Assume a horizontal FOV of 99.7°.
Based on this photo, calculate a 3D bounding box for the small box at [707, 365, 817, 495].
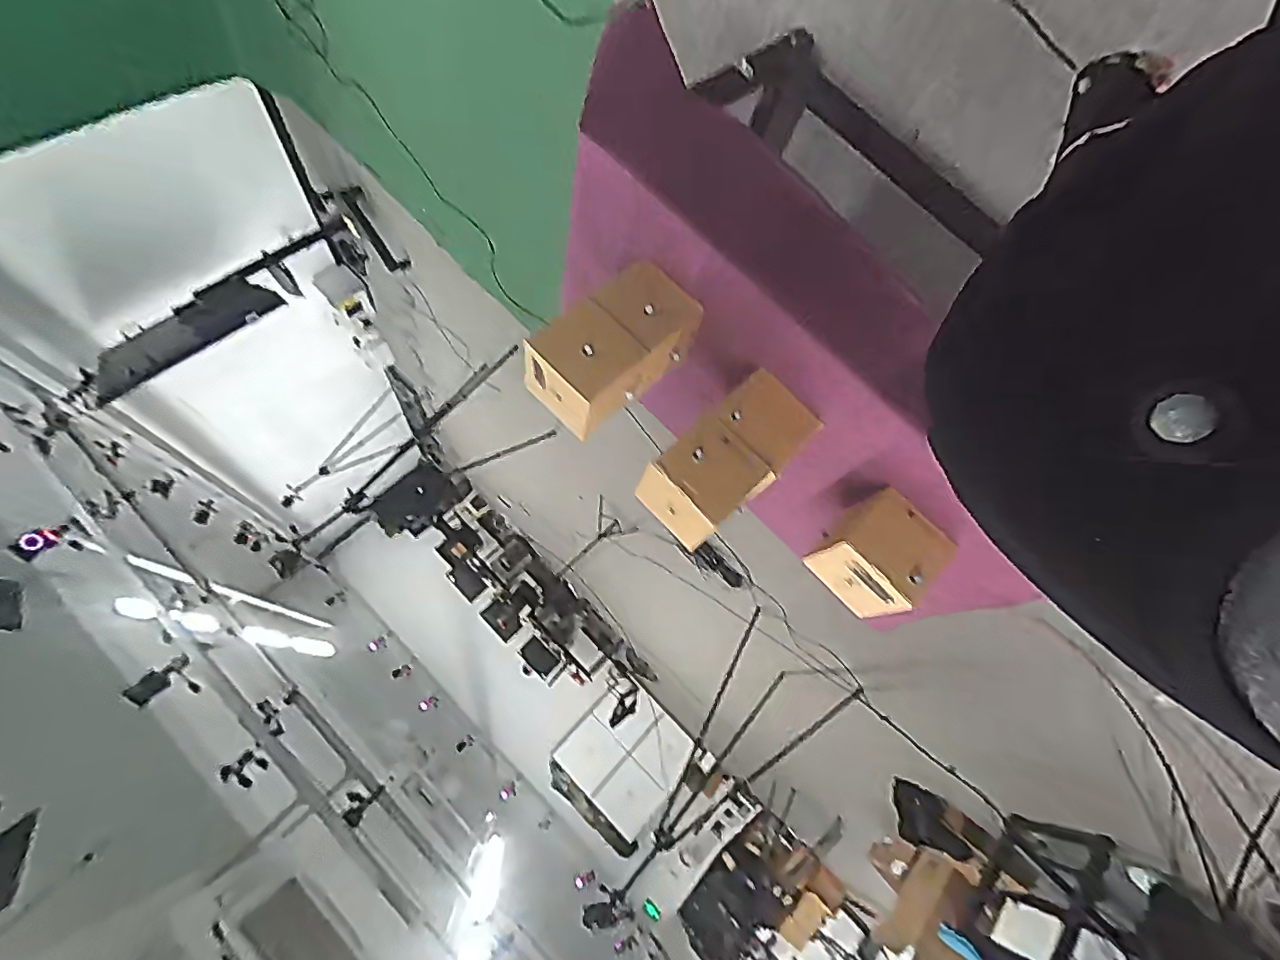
[{"bbox_3d":[0.228,-0.103,1.120,0.179,0.176,0.168,46,157,6],"label":"small box"}]

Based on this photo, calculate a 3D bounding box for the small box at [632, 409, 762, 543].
[{"bbox_3d":[0.112,-0.008,1.058,0.168,0.176,0.179,46,158,7],"label":"small box"}]

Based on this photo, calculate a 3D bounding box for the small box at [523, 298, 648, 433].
[{"bbox_3d":[-0.112,-0.234,1.079,0.179,0.176,0.168,44,157,7],"label":"small box"}]

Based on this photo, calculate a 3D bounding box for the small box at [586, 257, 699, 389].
[{"bbox_3d":[-0.001,-0.335,1.146,0.179,0.176,0.168,43,156,8],"label":"small box"}]
